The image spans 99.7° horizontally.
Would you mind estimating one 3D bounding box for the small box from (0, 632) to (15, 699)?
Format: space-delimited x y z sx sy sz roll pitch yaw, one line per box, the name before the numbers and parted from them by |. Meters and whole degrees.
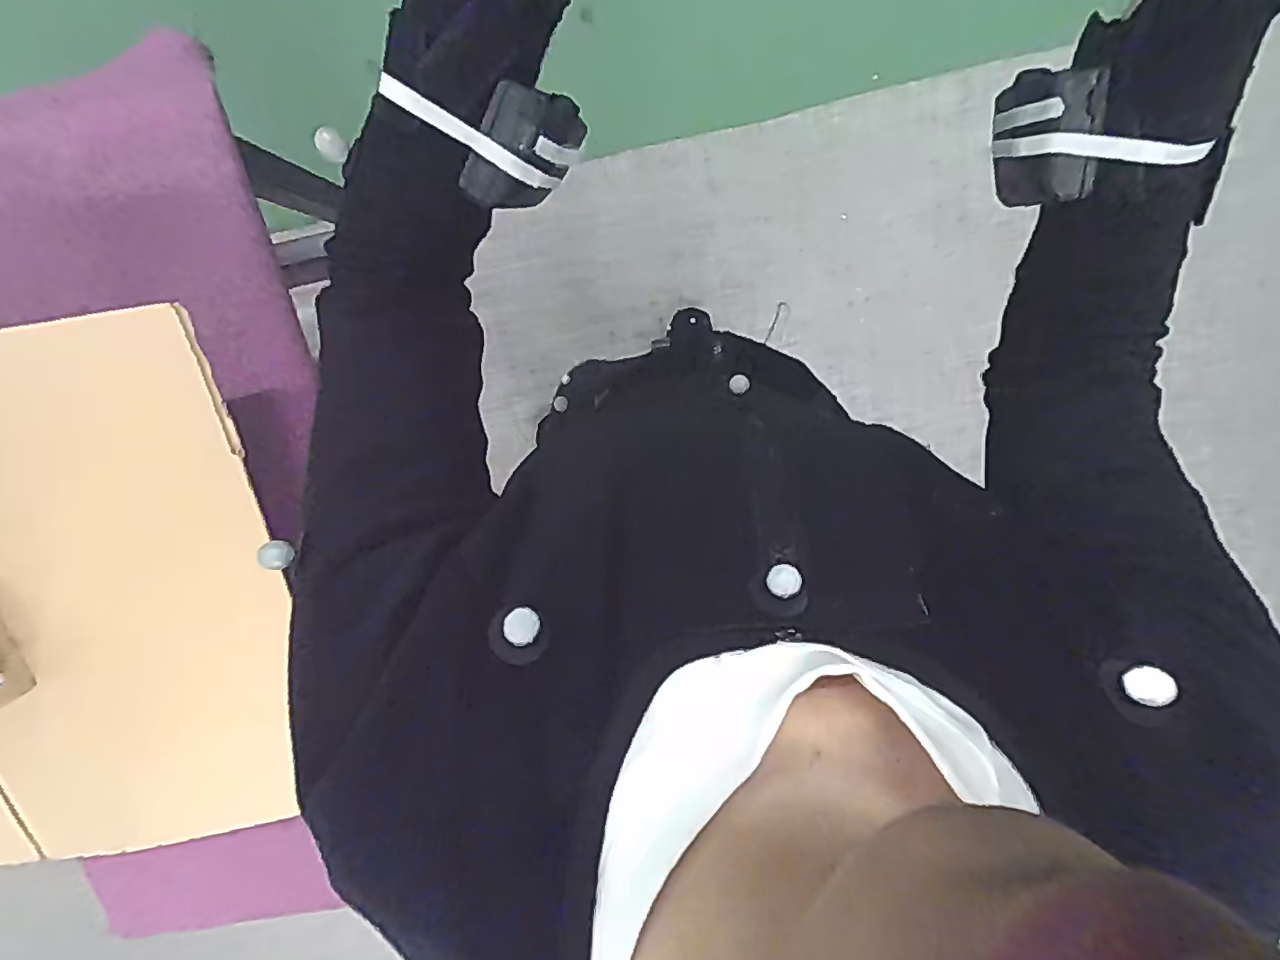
small box | -0.770 0.184 0.510 0.179 0.176 0.168 -9 104 5
